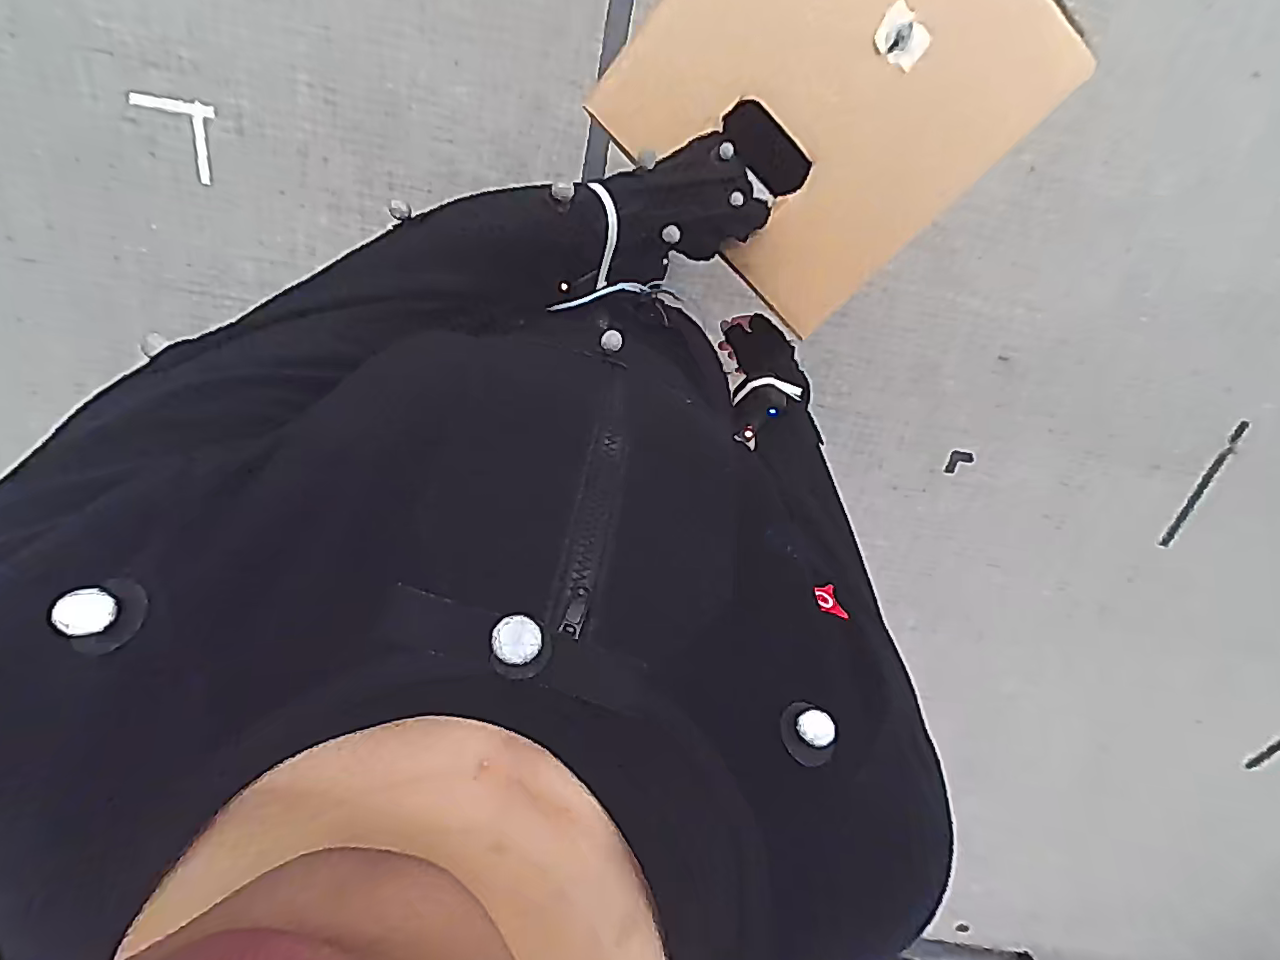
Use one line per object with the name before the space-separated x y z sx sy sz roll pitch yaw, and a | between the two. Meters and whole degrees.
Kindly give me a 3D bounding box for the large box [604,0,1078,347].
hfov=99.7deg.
large box | 0.209 -0.406 0.670 0.320 0.408 0.320 -40 99 22
